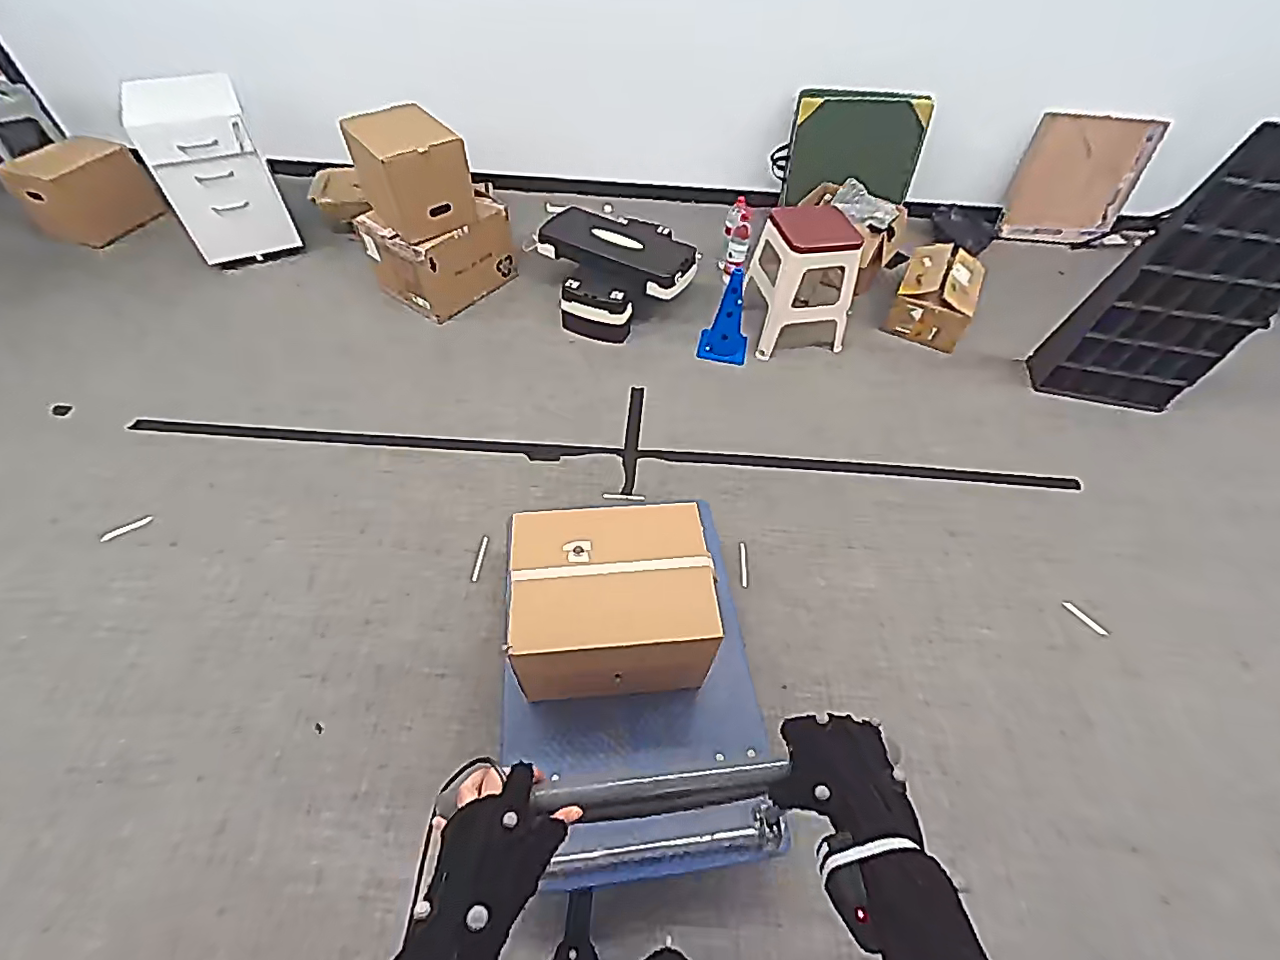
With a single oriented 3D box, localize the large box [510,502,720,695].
[{"bbox_3d":[-0.062,0.273,1.218,0.408,0.320,0.320,-3,53,-5],"label":"large box"}]
